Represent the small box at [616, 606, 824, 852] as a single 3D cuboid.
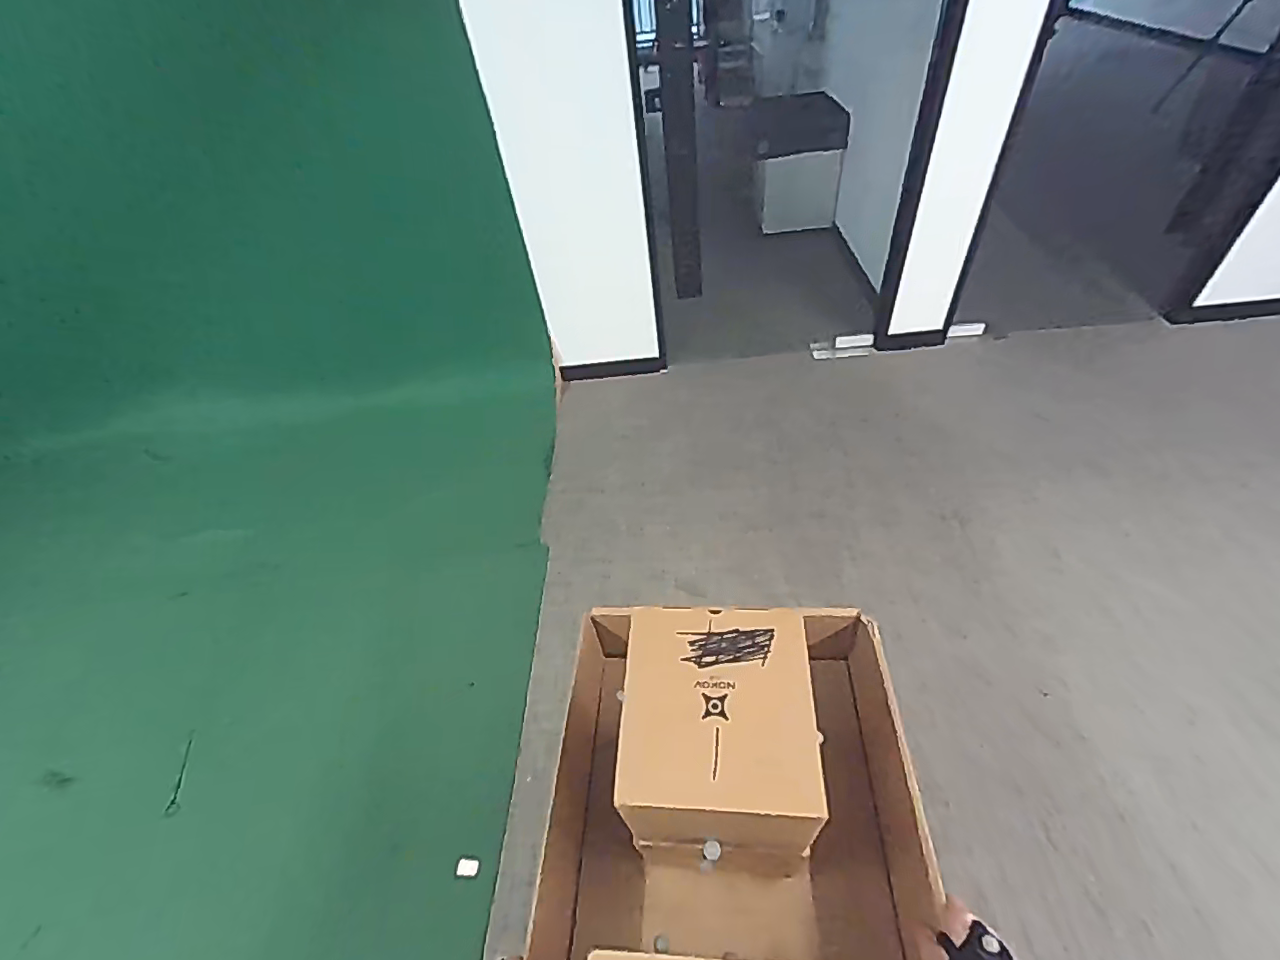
[{"bbox_3d":[0.077,0.246,0.537,0.168,0.176,0.179,0,49,8],"label":"small box"}]
